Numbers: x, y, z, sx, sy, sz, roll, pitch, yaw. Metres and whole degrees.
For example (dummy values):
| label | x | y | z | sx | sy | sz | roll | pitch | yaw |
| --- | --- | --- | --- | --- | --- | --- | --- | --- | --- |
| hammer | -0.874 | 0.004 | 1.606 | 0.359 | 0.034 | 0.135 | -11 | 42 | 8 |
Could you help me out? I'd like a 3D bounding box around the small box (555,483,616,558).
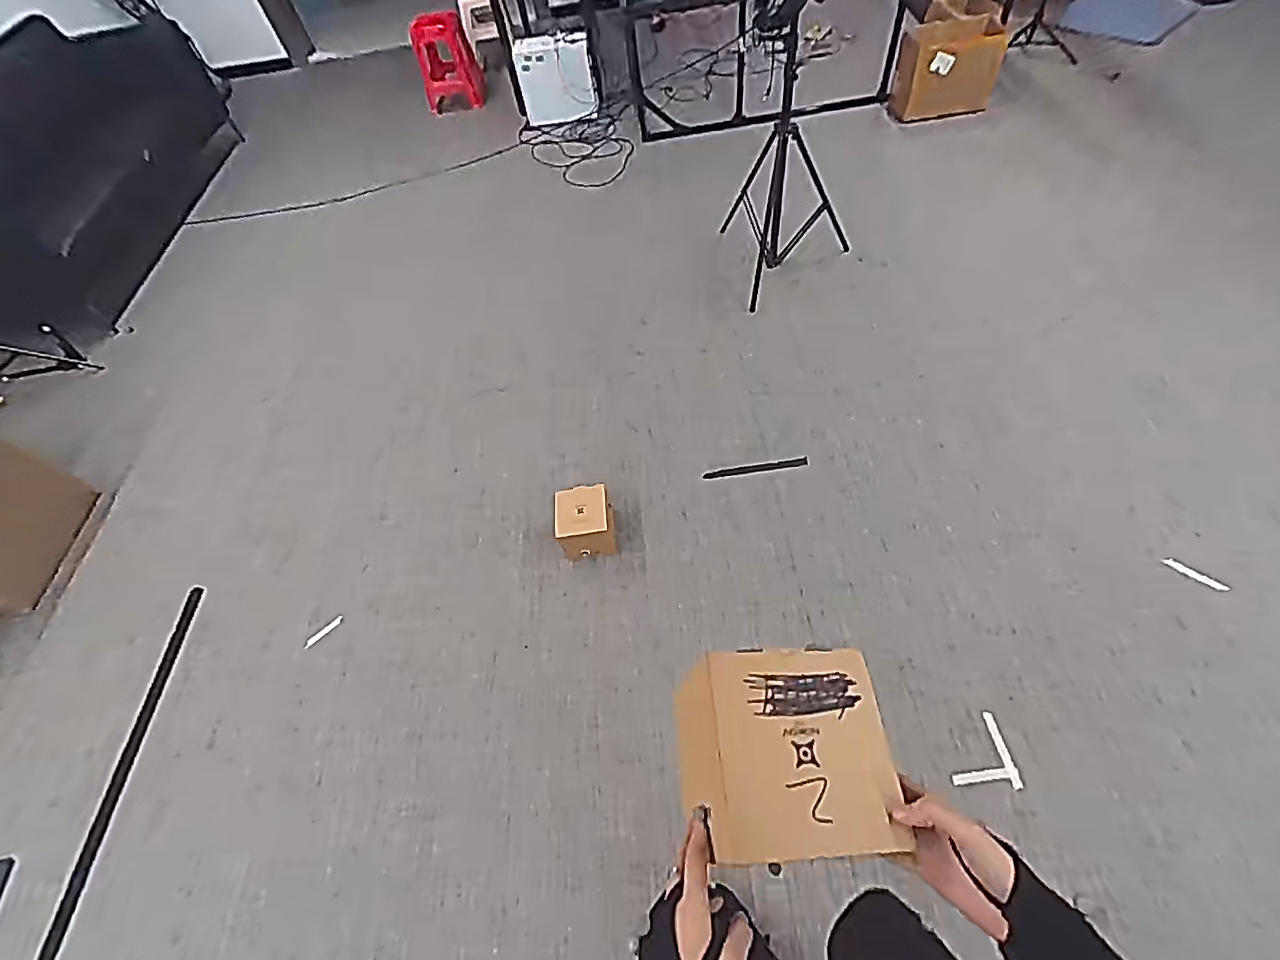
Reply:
| label | x | y | z | sx | sy | sz | roll | pitch | yaw |
| --- | --- | --- | --- | --- | --- | --- | --- | --- | --- |
| small box | -0.177 | 0.134 | 1.770 | 0.168 | 0.176 | 0.179 | -9 | 55 | 4 |
